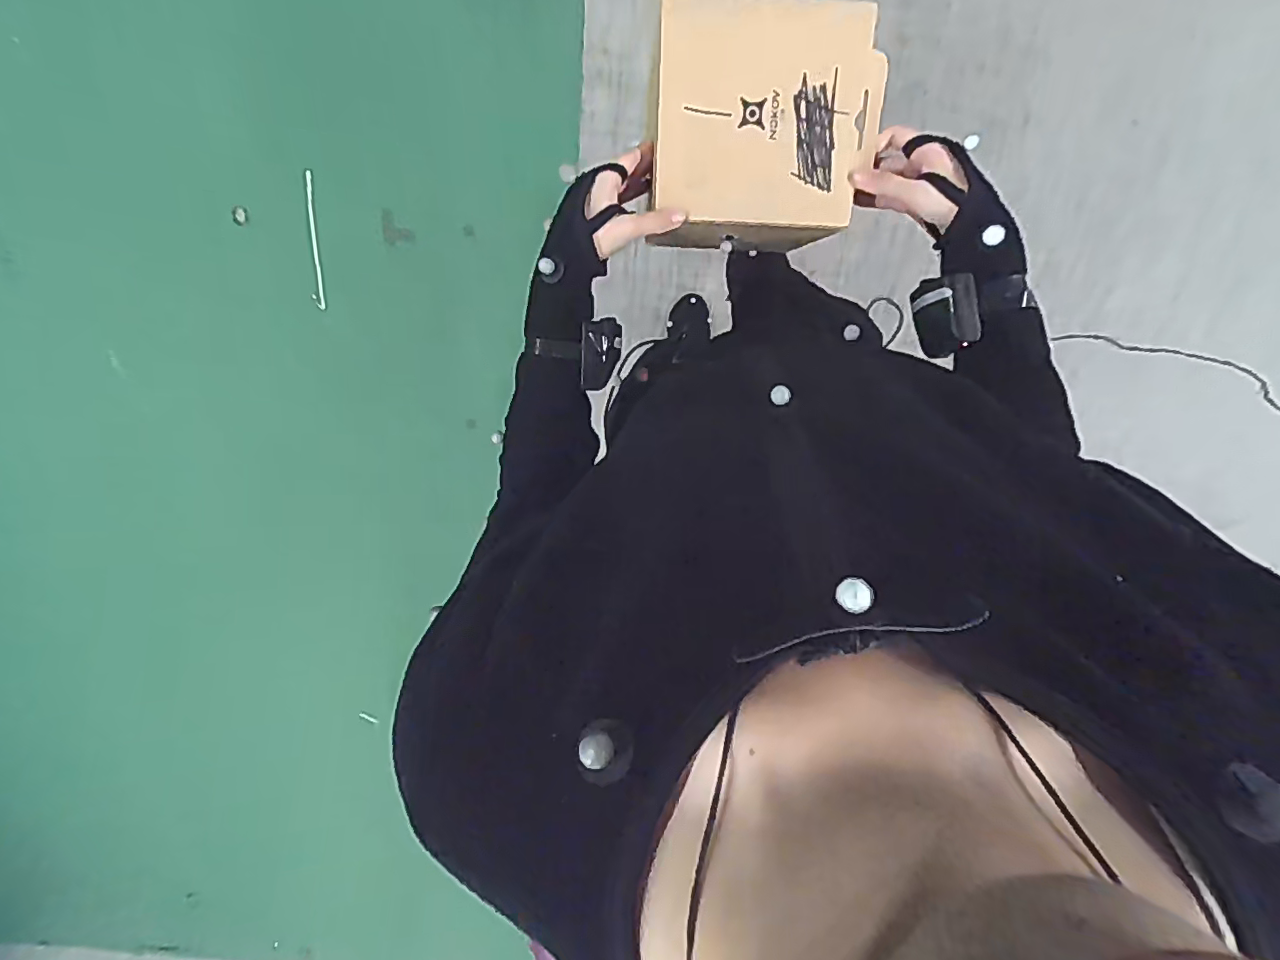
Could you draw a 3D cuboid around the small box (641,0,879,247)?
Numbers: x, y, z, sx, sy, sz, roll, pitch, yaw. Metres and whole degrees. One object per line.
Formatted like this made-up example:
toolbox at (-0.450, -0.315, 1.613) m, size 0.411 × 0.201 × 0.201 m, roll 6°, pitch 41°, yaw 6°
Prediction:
small box at (0.096, -0.326, 0.518) m, size 0.179 × 0.176 × 0.168 m, roll 1°, pitch 105°, yaw -3°
